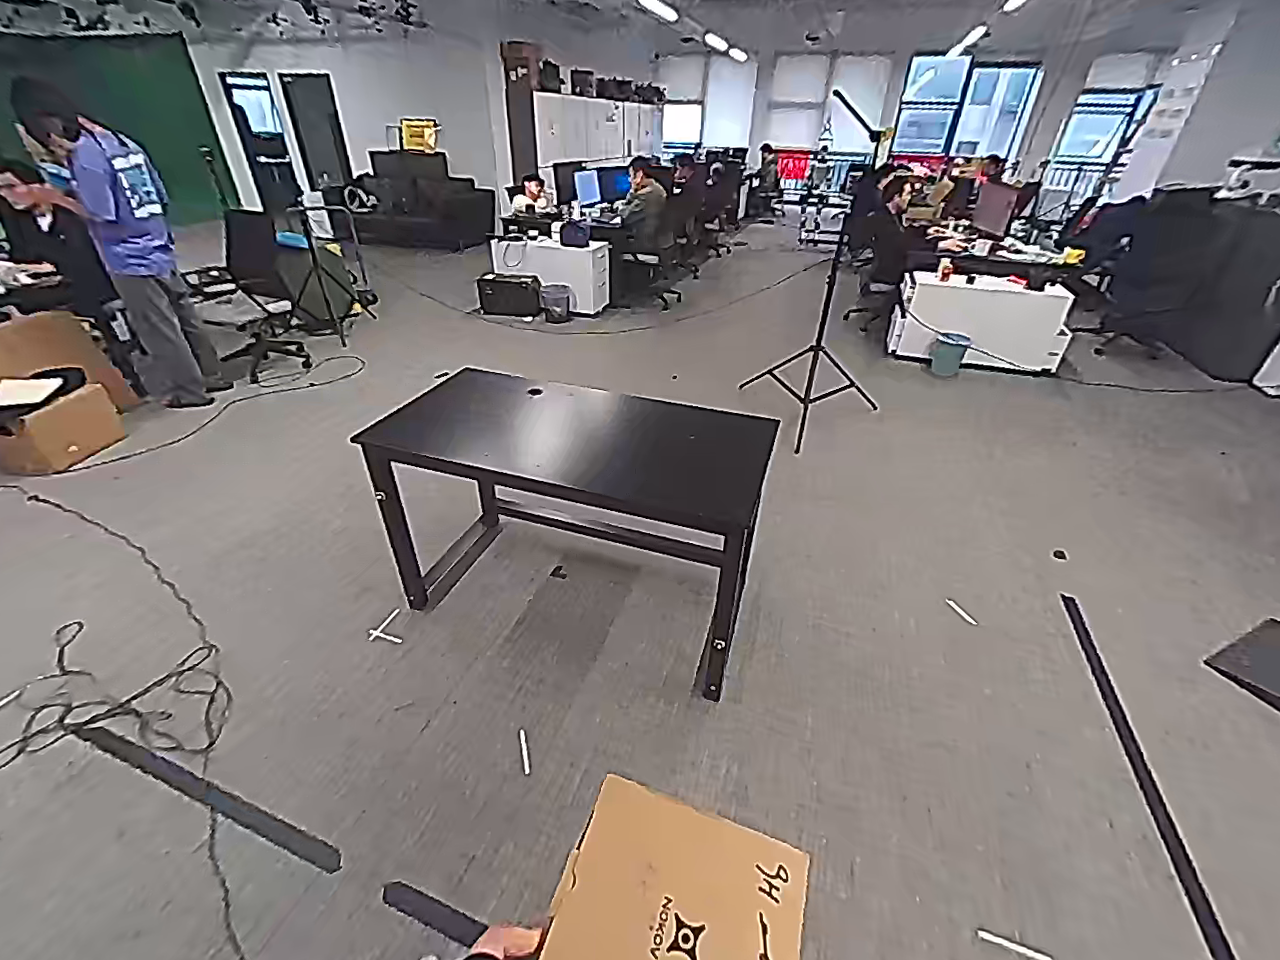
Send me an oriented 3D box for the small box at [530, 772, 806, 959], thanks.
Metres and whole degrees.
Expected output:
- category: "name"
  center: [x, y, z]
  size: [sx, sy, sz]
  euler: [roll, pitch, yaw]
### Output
- category: "small box"
  center: [0.022, 0.381, 0.444]
  size: [0.179, 0.176, 0.168]
  euler: [14, 44, 13]
